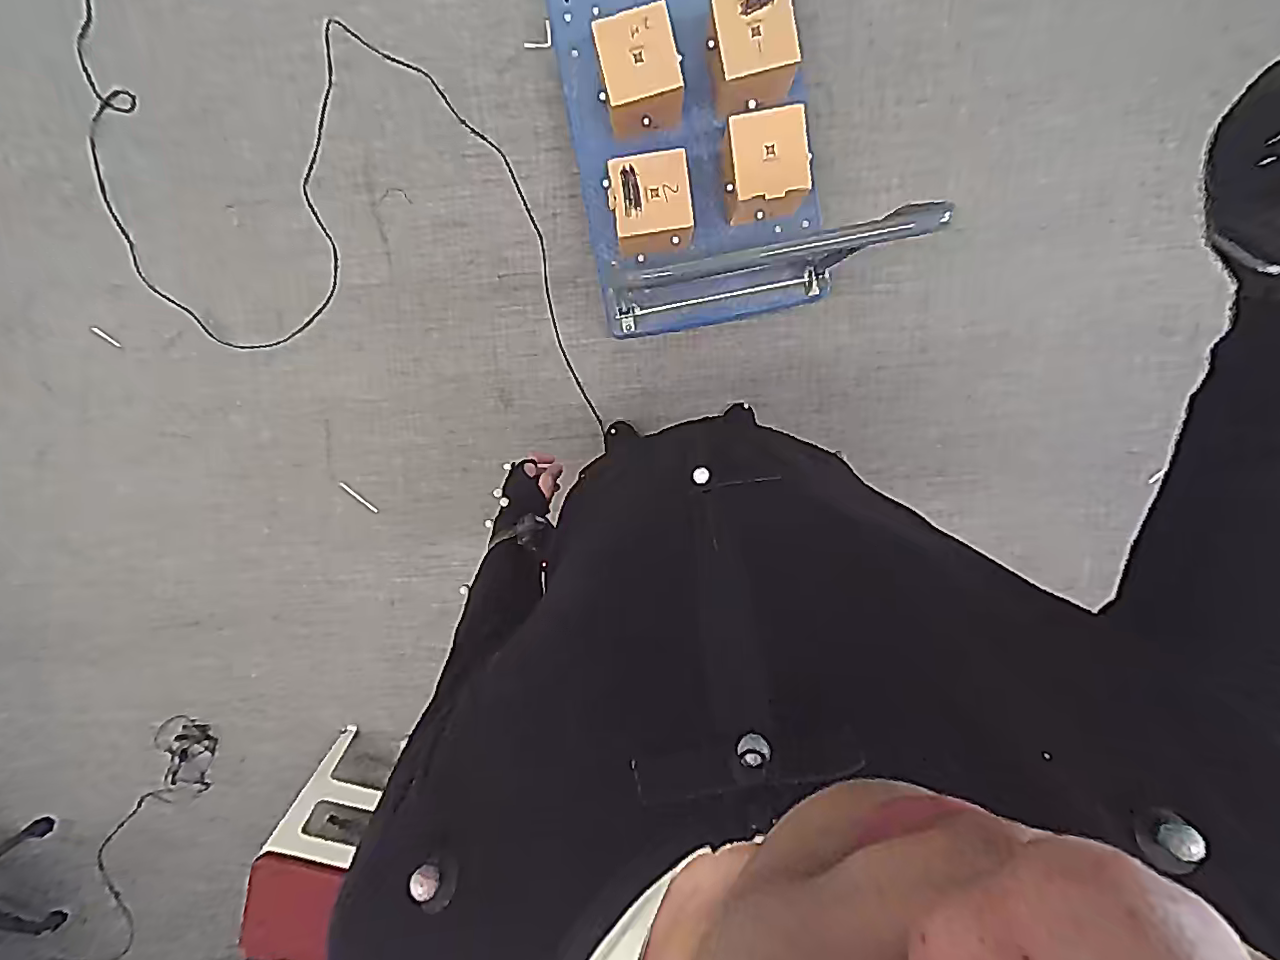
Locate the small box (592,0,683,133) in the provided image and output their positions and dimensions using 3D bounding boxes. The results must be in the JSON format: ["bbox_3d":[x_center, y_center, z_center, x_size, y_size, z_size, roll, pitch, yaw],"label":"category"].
[{"bbox_3d":[-0.002,-0.925,1.229,0.168,0.176,0.179,-14,98,3],"label":"small box"}]

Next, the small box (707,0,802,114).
[{"bbox_3d":[0.249,-0.971,1.215,0.168,0.176,0.179,-12,99,4],"label":"small box"}]

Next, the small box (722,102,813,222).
[{"bbox_3d":[0.288,-0.728,1.254,0.168,0.176,0.179,-8,97,3],"label":"small box"}]
